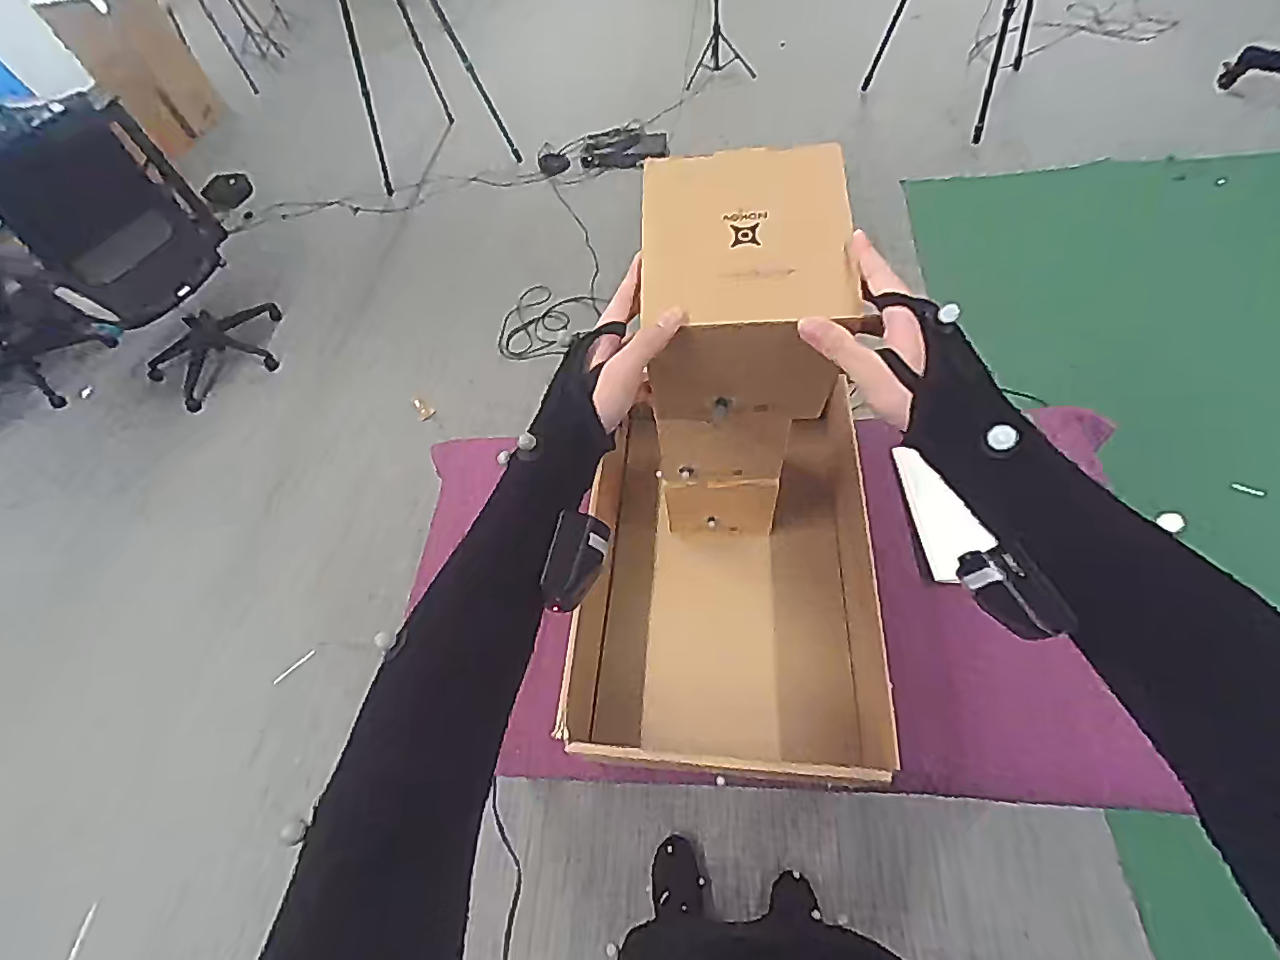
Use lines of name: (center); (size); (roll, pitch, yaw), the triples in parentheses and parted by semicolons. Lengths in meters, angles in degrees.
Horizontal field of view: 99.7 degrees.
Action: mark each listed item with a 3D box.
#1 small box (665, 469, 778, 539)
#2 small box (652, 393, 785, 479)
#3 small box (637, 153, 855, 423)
small box: (0.129, -0.019, 0.888); (0.168, 0.176, 0.179); (-1, 59, 7)
small box: (0.109, -0.111, 0.754); (0.168, 0.176, 0.179); (-2, 58, 7)
small box: (0.089, -0.168, 0.510); (0.168, 0.176, 0.179); (-1, 71, 7)
